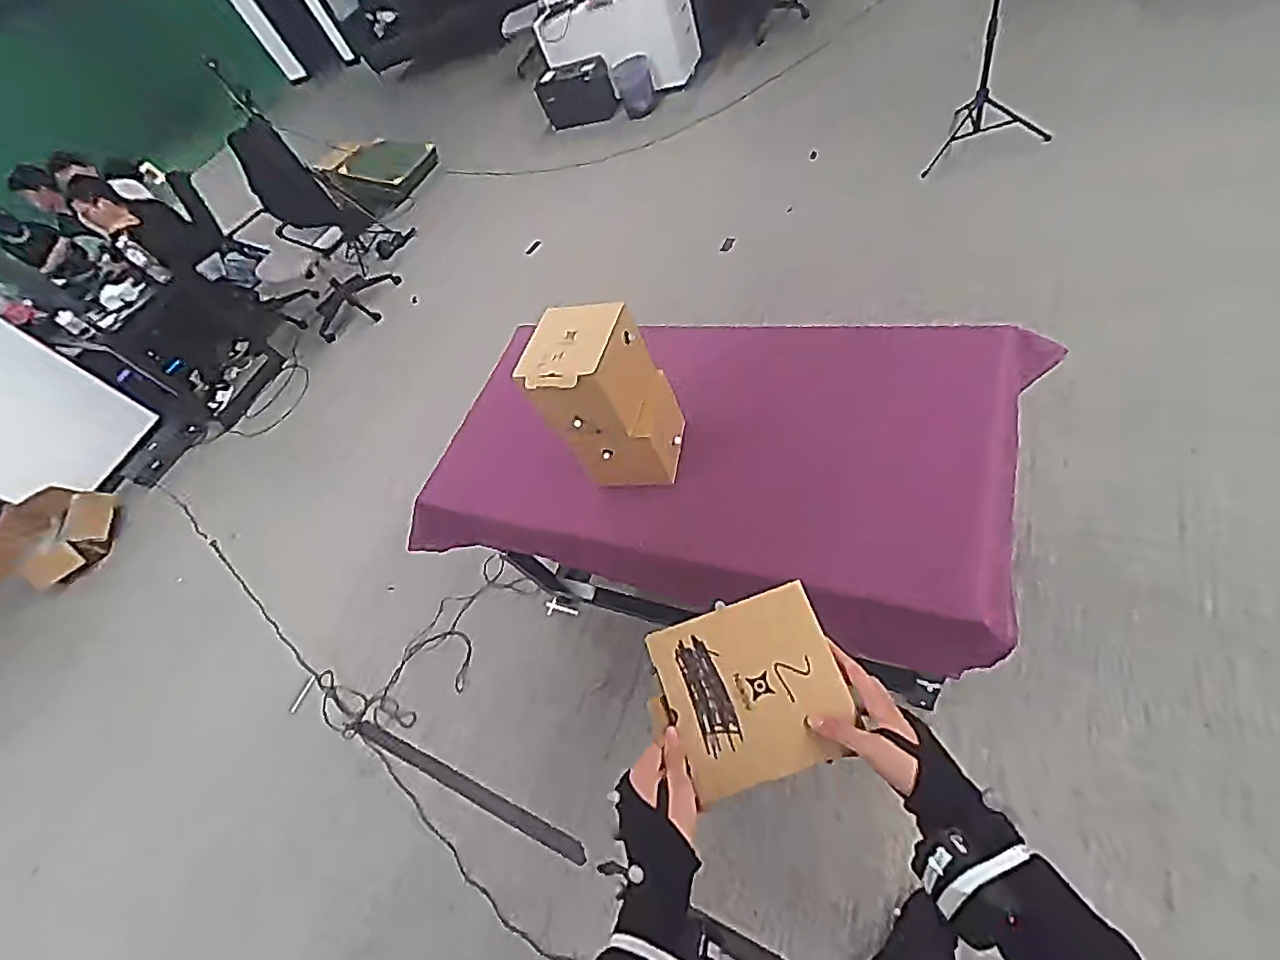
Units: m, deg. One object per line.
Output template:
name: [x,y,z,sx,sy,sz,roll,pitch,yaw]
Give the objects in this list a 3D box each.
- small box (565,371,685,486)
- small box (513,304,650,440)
small box: [-0.022,-0.098,1.103,0.179,0.176,0.168,-1,57,22]
small box: [-0.095,-0.194,0.988,0.168,0.176,0.179,3,59,26]
